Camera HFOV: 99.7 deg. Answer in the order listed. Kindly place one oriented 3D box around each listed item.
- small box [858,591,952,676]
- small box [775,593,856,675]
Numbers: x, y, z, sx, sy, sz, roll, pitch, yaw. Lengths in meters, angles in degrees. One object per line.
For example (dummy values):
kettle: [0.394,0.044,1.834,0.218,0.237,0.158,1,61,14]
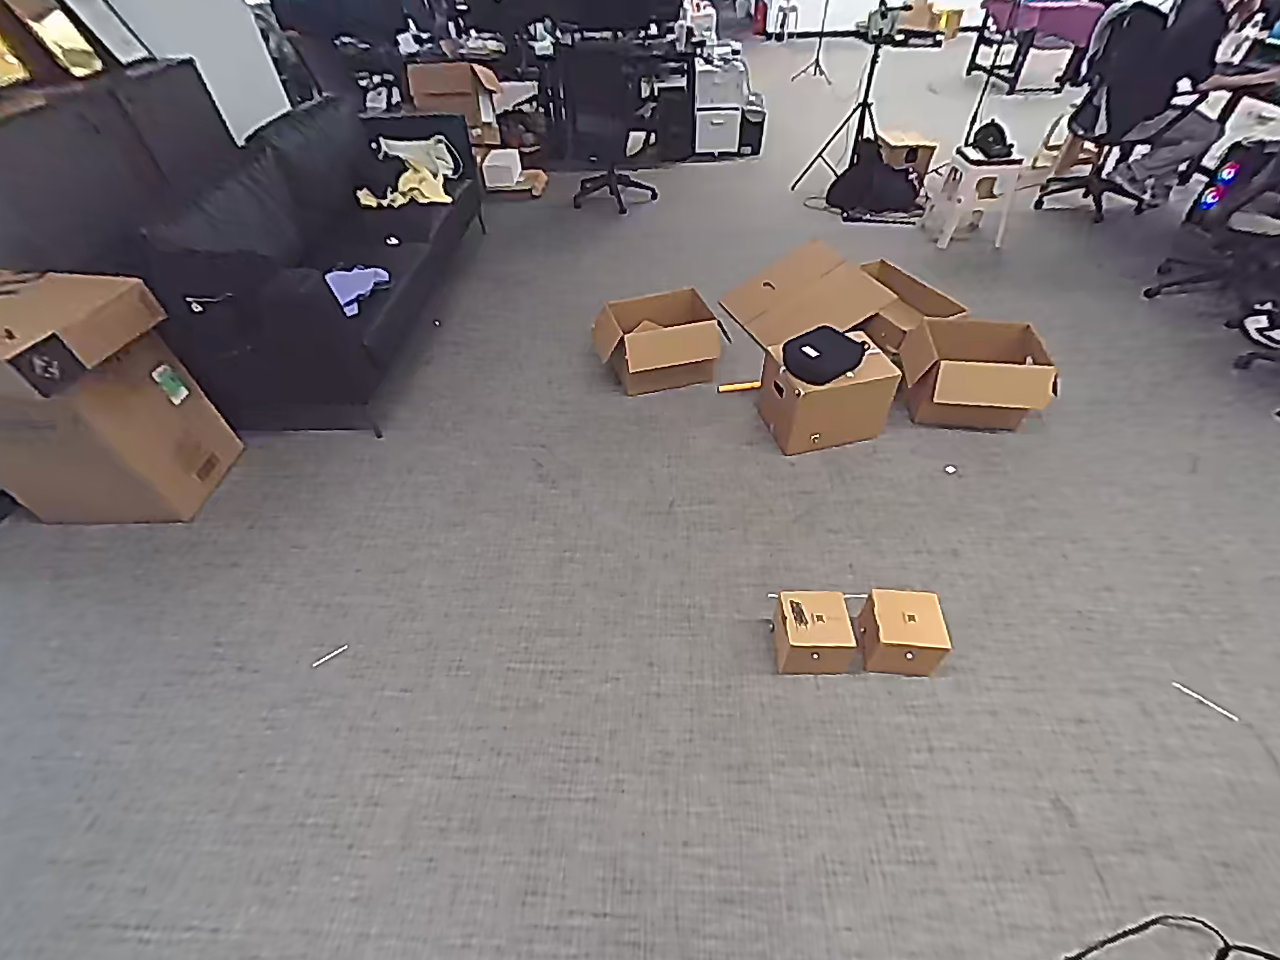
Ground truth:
small box: [0.722,0.427,1.494,0.179,0.176,0.168,3,47,7]
small box: [0.476,0.430,1.504,0.179,0.176,0.168,0,46,2]
